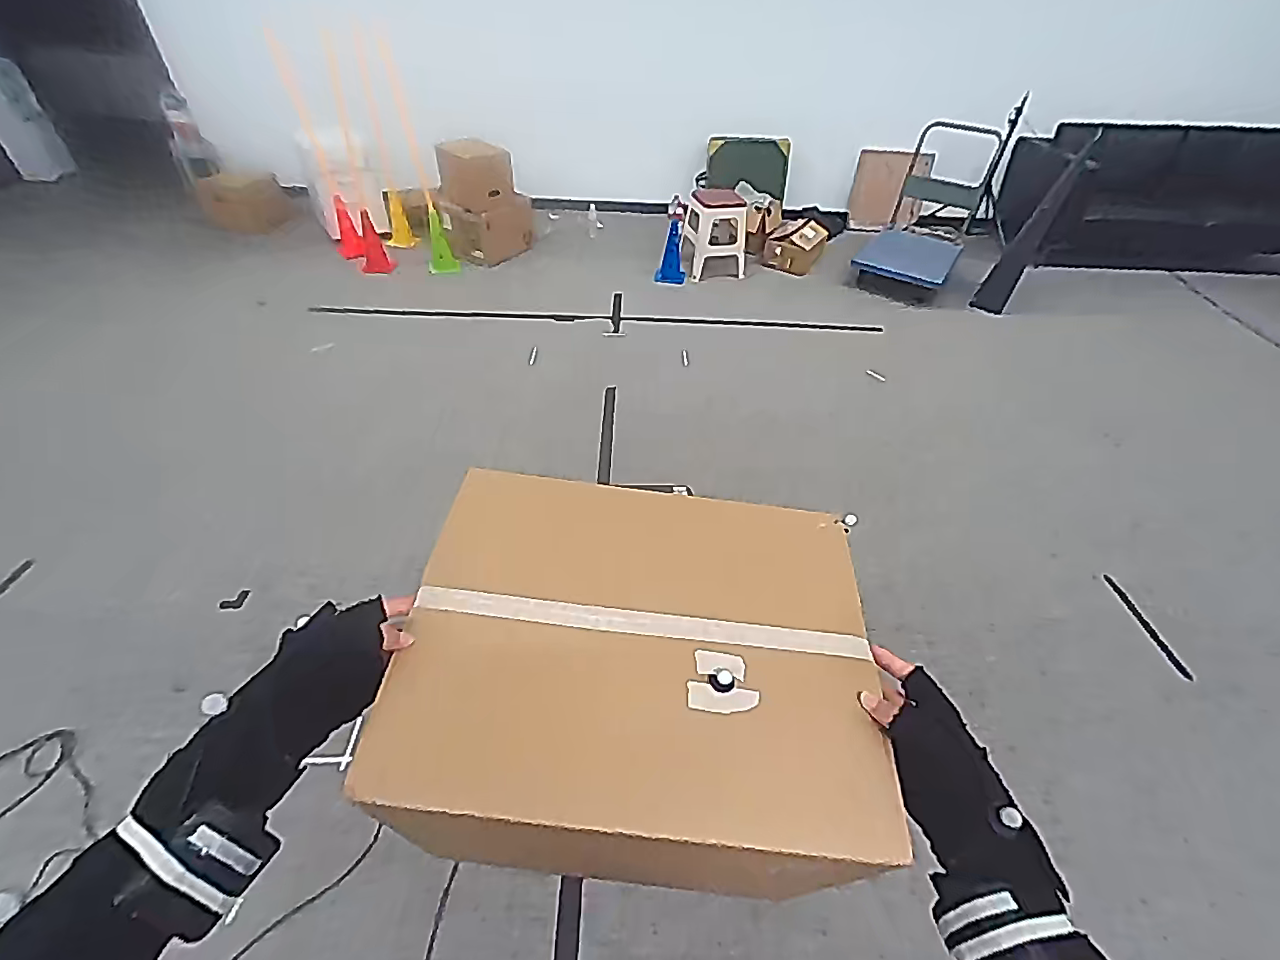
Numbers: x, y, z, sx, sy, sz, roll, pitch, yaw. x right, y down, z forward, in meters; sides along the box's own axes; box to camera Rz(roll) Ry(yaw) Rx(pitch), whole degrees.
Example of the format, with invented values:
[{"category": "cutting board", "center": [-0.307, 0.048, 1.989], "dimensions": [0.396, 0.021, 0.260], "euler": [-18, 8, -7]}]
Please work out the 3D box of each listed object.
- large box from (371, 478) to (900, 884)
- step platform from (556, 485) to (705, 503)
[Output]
[{"category": "large box", "center": [-0.007, 0.230, 0.605], "dimensions": [0.408, 0.320, 0.320], "euler": [7, 49, -1]}, {"category": "step platform", "center": [-0.100, 0.173, 1.868], "dimensions": [0.684, 0.204, 0.286], "euler": [1, 43, -5]}]
